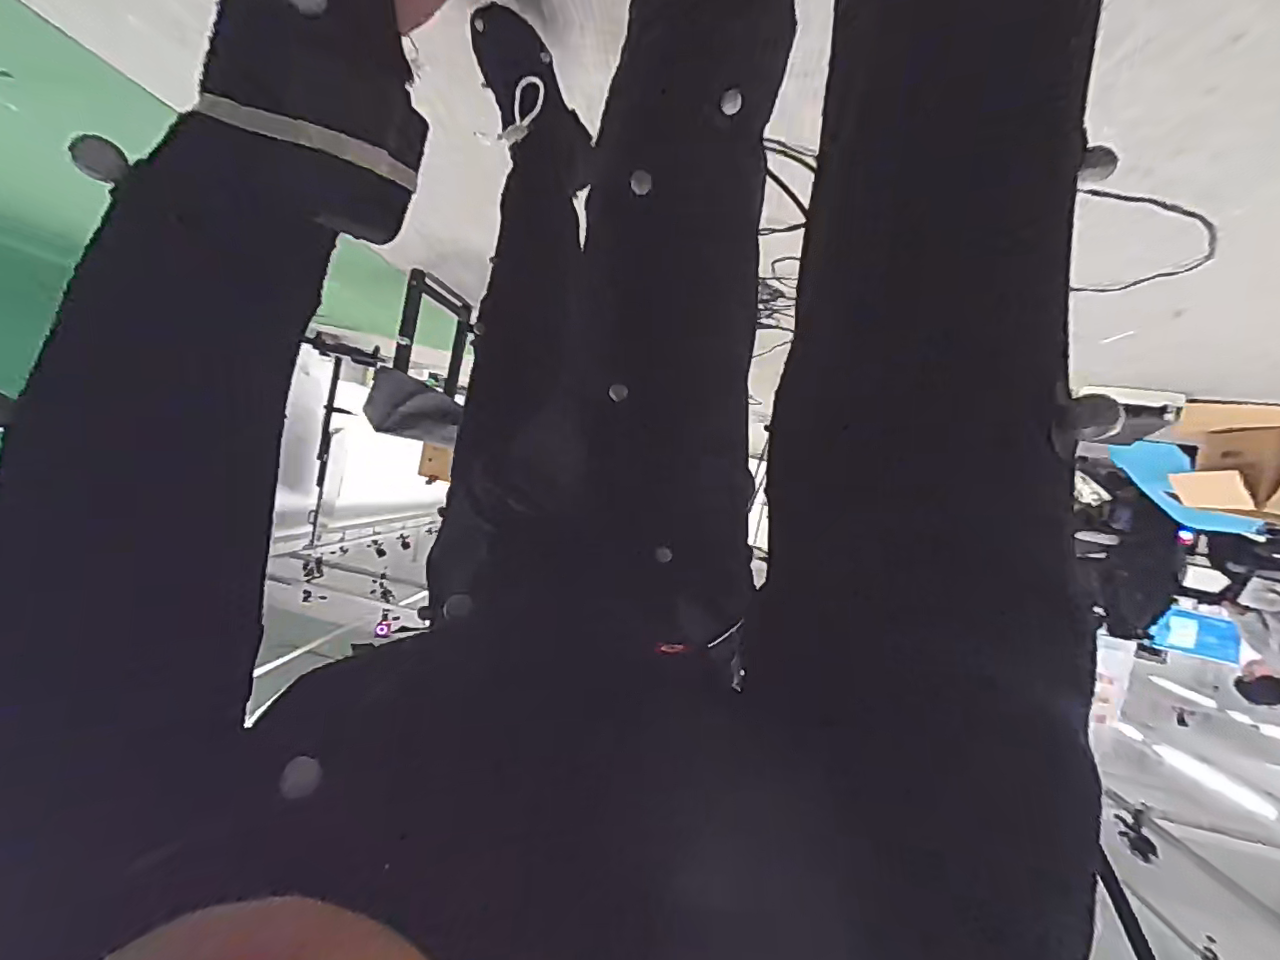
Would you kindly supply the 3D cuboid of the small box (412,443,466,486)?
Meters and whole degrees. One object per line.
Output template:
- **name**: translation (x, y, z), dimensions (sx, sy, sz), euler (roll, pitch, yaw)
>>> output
- **small box**: translation (-0.929, -0.074, 2.512), dimensions (0.168, 0.176, 0.179), euler (13, -177, 2)
